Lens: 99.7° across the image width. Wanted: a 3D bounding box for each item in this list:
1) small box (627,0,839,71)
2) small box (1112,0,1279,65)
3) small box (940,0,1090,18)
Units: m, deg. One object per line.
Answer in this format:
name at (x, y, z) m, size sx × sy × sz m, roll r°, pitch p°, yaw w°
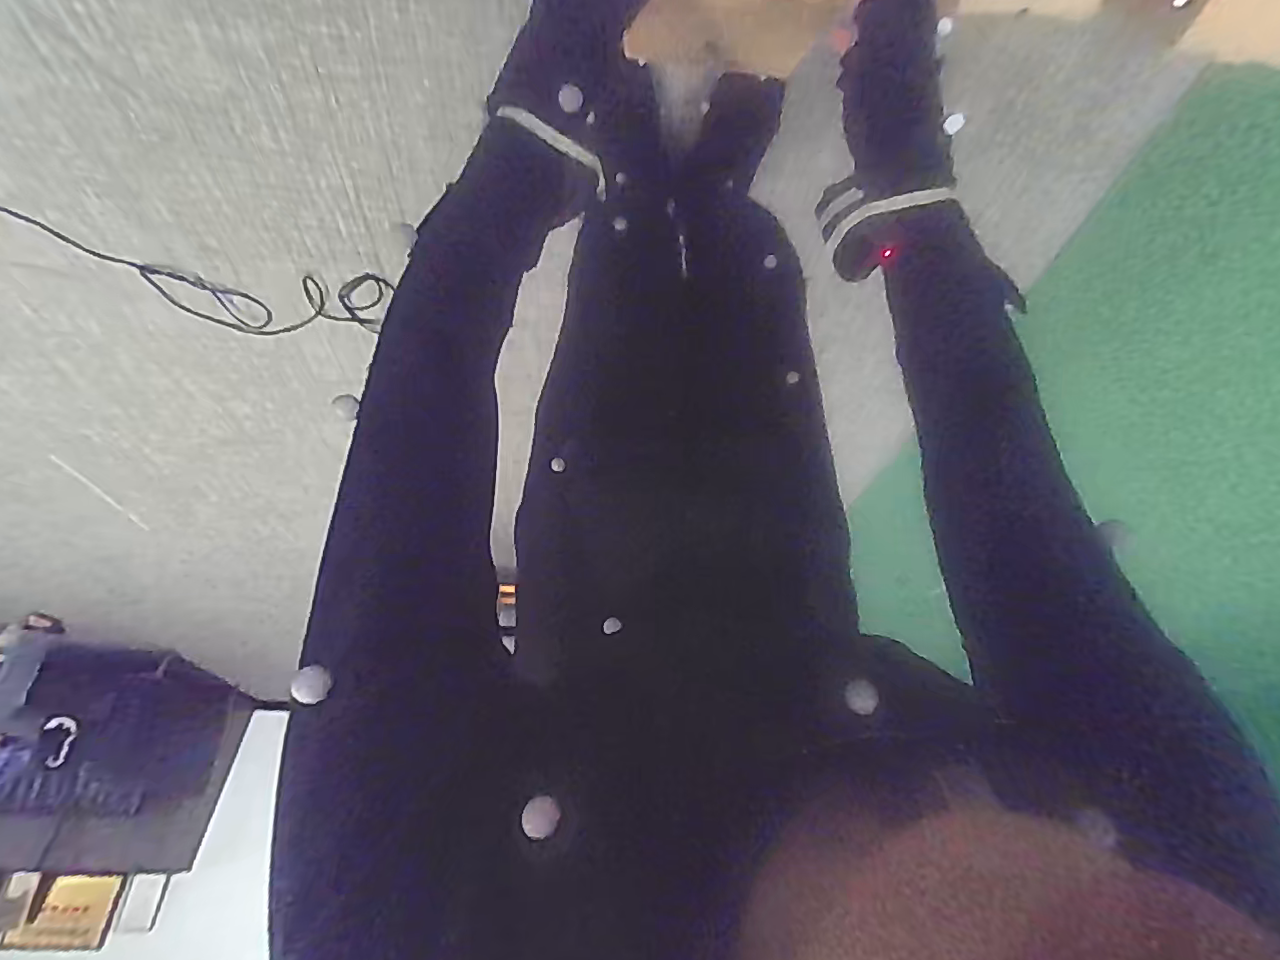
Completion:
small box at (0.077, -0.463, 0.424) m, size 0.168 × 0.176 × 0.179 m, roll 6°, pitch 111°, yaw -2°
small box at (0.741, -0.646, 0.653) m, size 0.168 × 0.176 × 0.179 m, roll 5°, pitch 144°, yaw -4°
small box at (0.451, -0.671, 0.621) m, size 0.168 × 0.176 × 0.179 m, roll 2°, pitch 143°, yaw -2°
